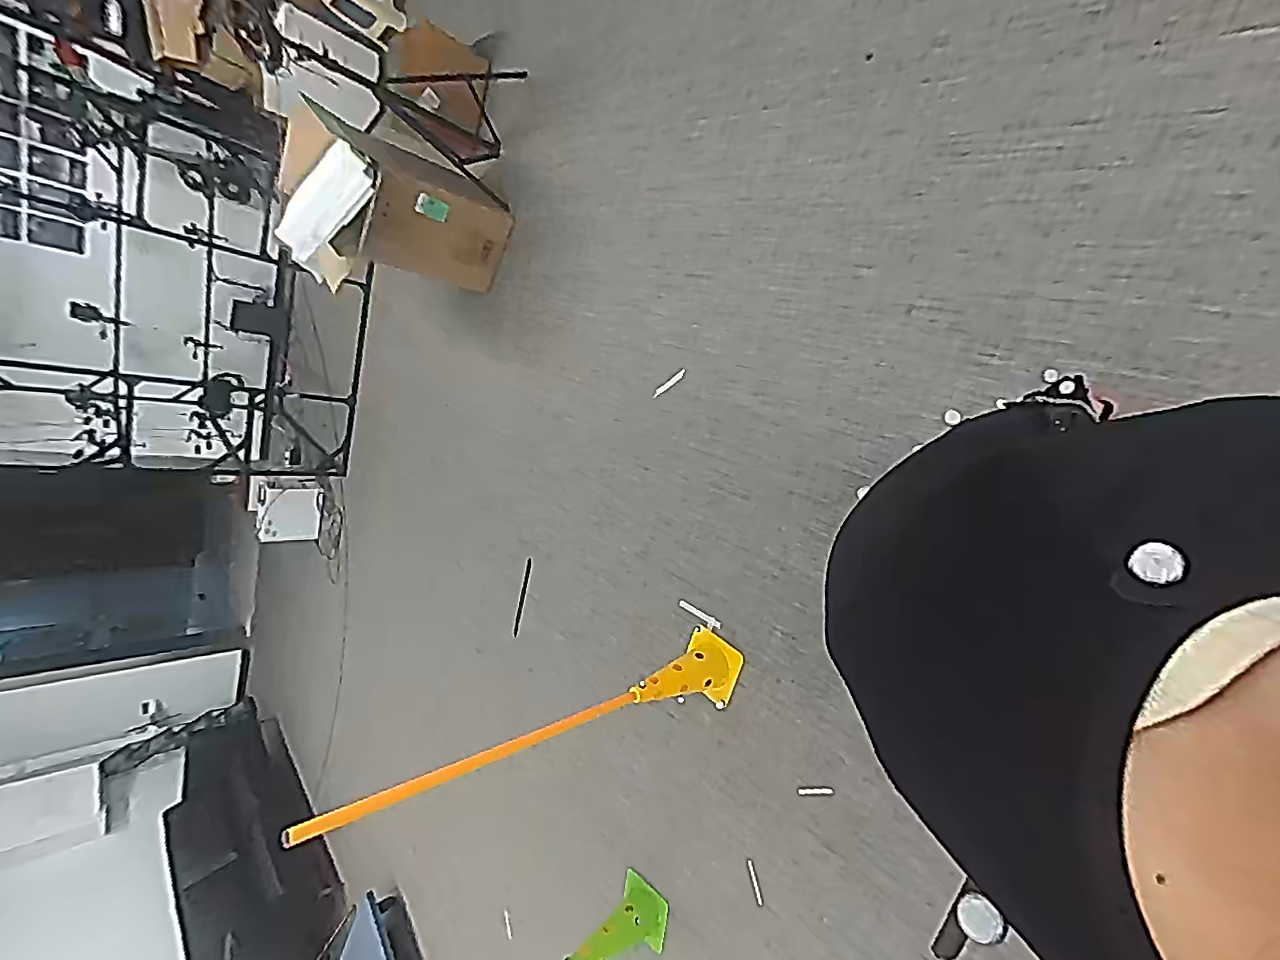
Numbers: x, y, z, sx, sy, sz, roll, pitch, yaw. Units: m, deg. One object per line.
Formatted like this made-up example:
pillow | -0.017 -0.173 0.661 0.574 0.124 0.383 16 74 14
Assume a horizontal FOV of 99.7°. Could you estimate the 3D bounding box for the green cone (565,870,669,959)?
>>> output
green cone | -0.101 1.517 1.787 0.200 0.368 0.202 12 96 43
